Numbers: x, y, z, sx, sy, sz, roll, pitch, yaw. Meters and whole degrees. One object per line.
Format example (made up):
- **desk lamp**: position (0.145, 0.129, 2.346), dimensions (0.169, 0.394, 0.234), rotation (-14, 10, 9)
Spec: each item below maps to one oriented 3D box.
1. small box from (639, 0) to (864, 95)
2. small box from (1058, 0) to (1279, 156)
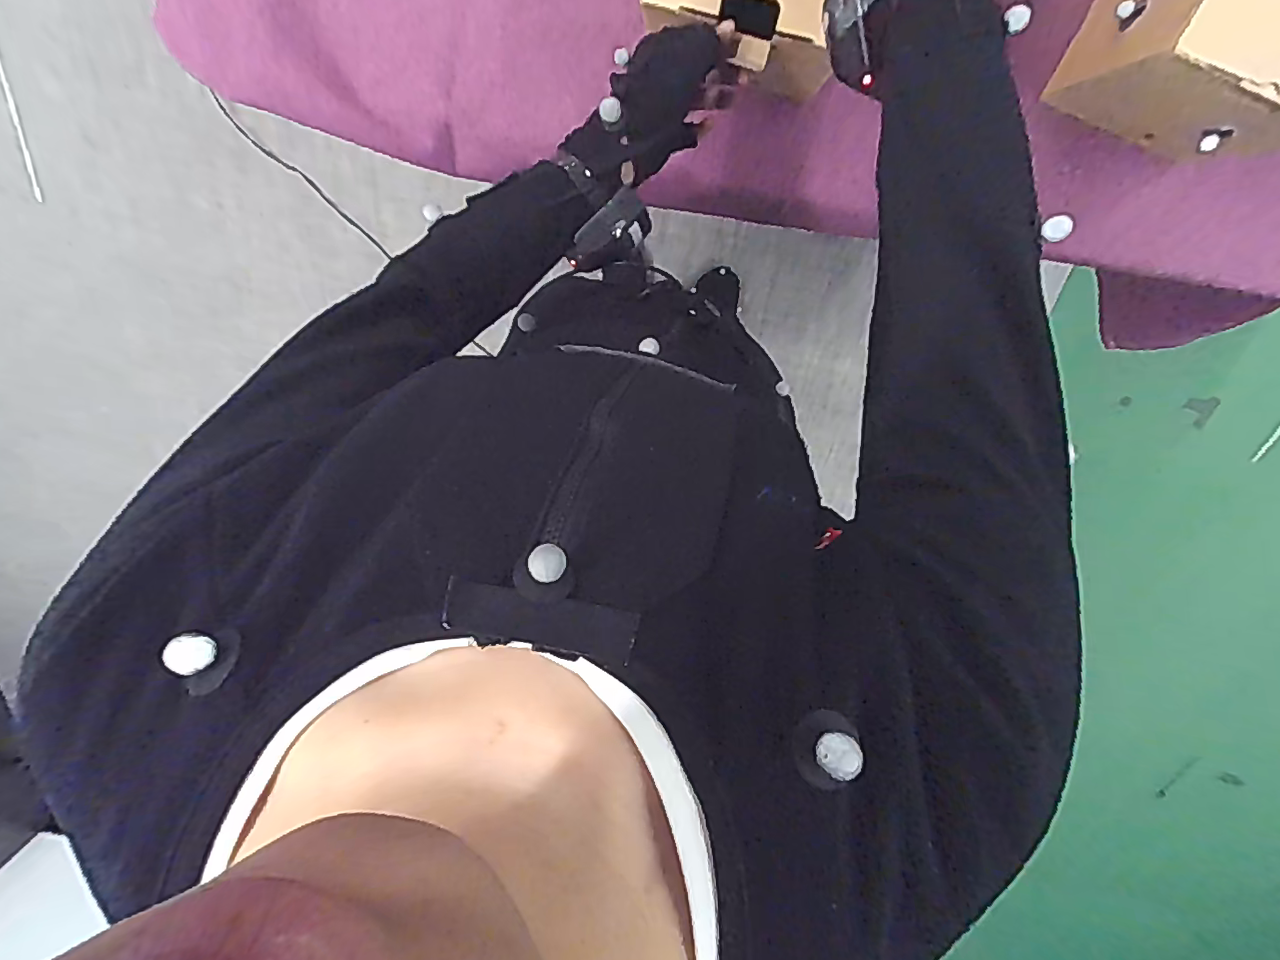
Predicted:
- **small box**: position (0.104, -0.445, 0.439), dimensions (0.168, 0.176, 0.179), rotation (13, 115, -1)
- **small box**: position (0.488, -0.384, 0.428), dimensions (0.168, 0.176, 0.179), rotation (20, 115, -4)
